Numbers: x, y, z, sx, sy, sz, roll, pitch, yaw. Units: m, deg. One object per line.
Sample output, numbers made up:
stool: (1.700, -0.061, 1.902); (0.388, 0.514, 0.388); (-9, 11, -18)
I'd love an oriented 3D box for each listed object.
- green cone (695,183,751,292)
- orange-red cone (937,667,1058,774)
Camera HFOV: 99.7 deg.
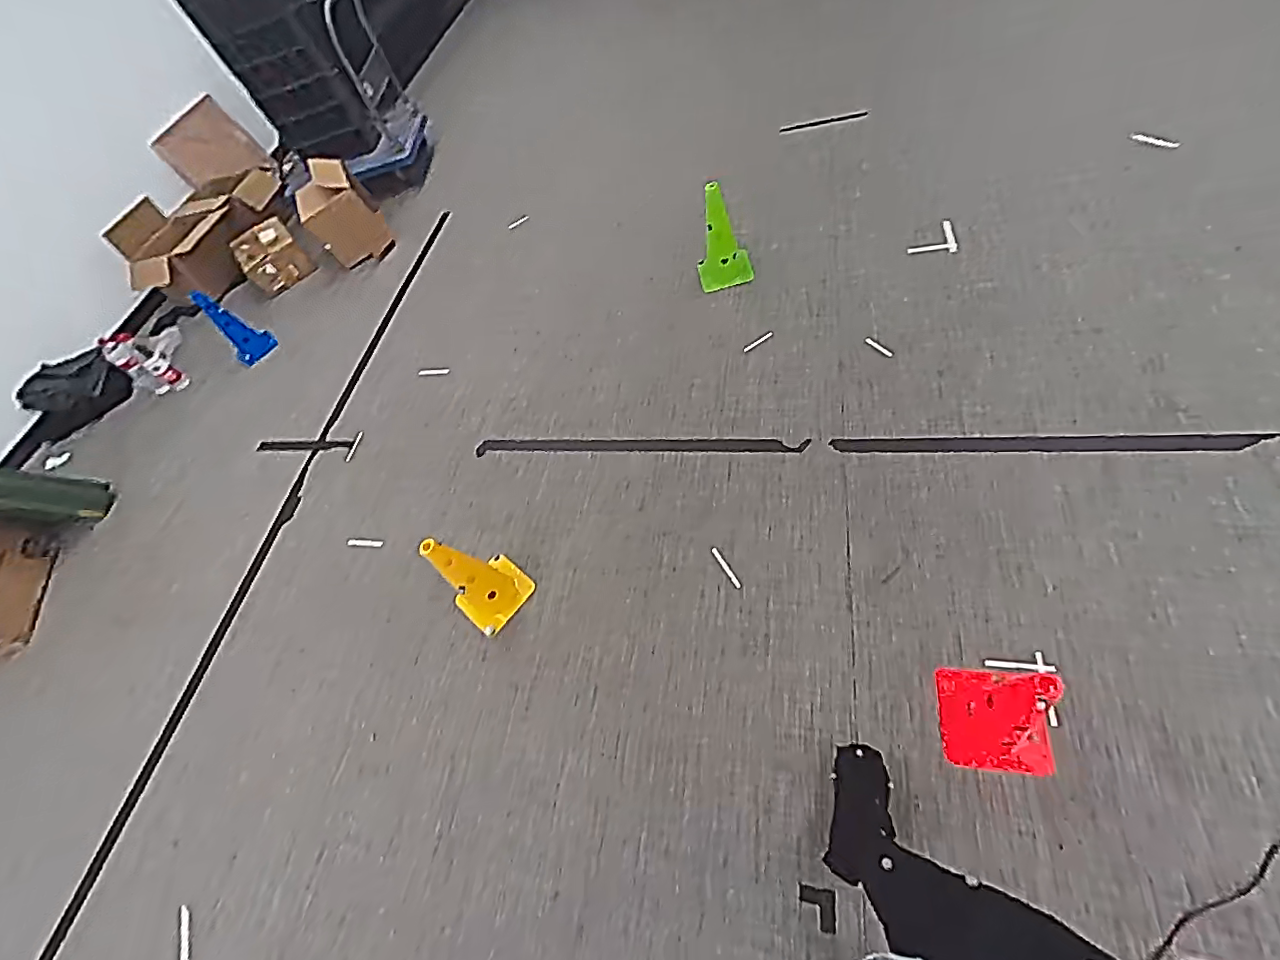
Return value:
green cone: (0.288, -0.921, 2.018); (0.202, 0.368, 0.200); (-13, 56, 8)
orange-red cone: (0.707, 0.419, 1.019); (0.199, 0.360, 0.198); (-1, 57, 19)
